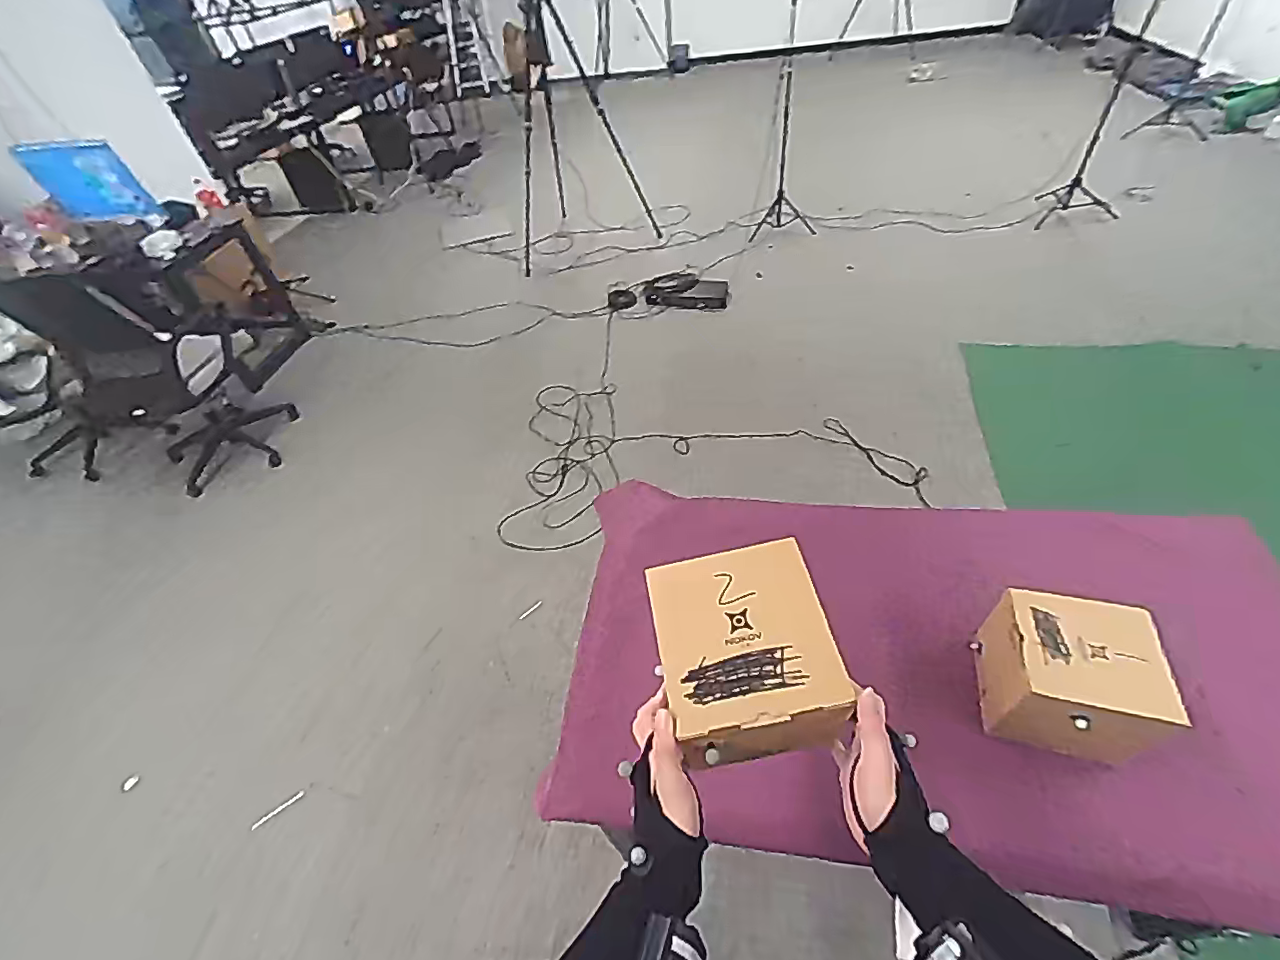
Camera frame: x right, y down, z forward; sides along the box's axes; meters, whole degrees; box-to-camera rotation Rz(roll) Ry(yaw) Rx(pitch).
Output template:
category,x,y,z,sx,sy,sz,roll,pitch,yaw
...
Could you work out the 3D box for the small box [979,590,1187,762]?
category,x,y,z,sx,sy,sz,roll,pitch,yaw
small box,0.621,0.288,0.793,0.179,0.176,0.168,9,49,15
